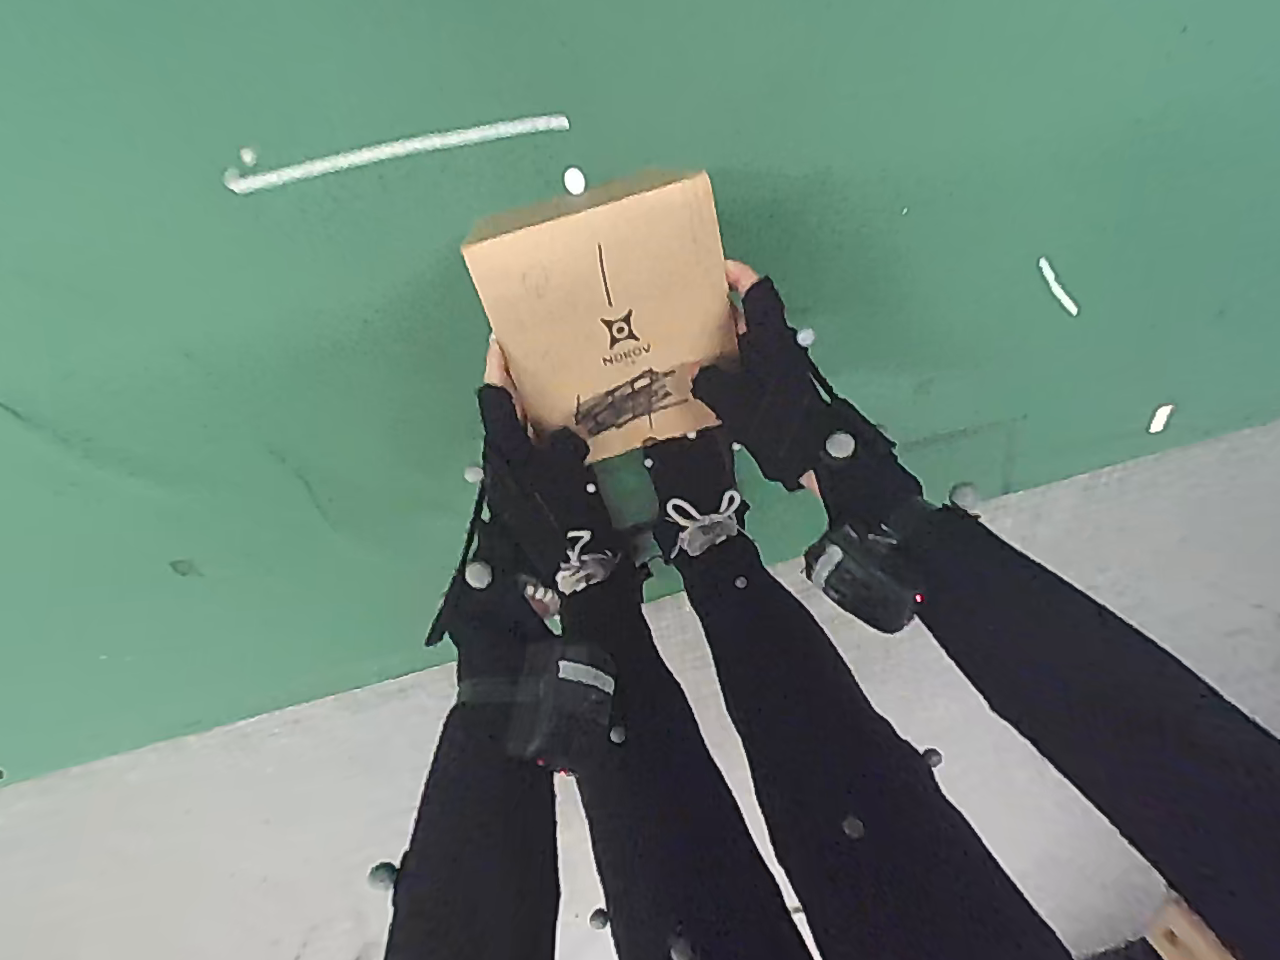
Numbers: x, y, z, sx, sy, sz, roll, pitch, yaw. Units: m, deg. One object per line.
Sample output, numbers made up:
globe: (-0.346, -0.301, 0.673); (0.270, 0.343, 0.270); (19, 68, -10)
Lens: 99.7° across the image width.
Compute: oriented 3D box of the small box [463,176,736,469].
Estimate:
small box: (-0.032, -0.141, 0.459); (0.168, 0.176, 0.179); (-18, 123, -3)
